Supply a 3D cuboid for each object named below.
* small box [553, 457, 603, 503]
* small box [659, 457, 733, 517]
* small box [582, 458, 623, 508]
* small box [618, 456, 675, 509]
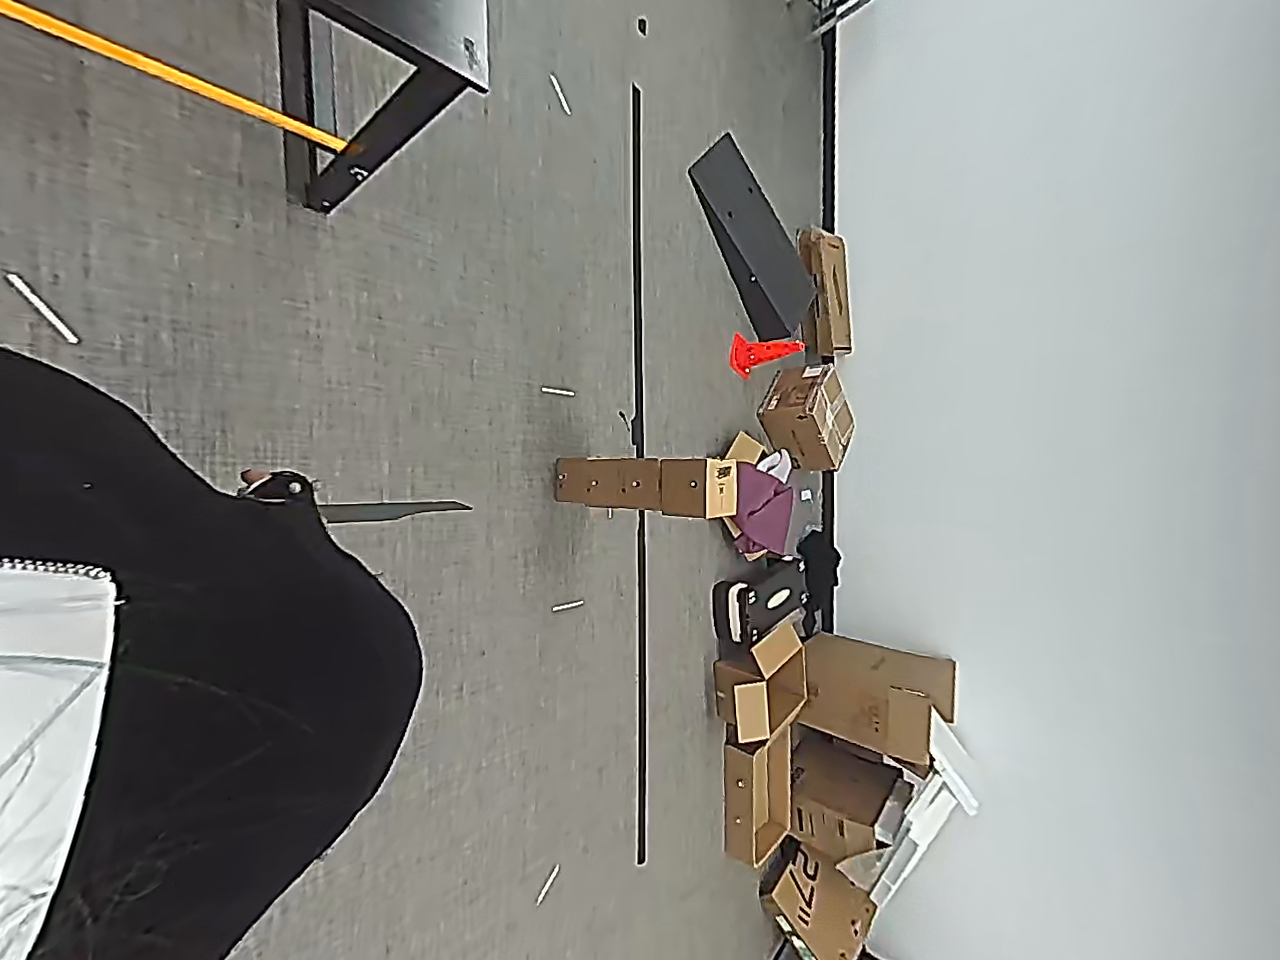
[{"bbox_3d":[-0.199,-0.002,1.990,0.179,0.176,0.168,-1,91,-47],"label":"small box"},{"bbox_3d":[0.172,0.019,1.664,0.168,0.176,0.179,-2,92,-49],"label":"small box"},{"bbox_3d":[-0.081,0.008,1.875,0.179,0.176,0.168,0,90,-49],"label":"small box"},{"bbox_3d":[0.040,0.010,1.765,0.179,0.176,0.168,0,90,-48],"label":"small box"}]
